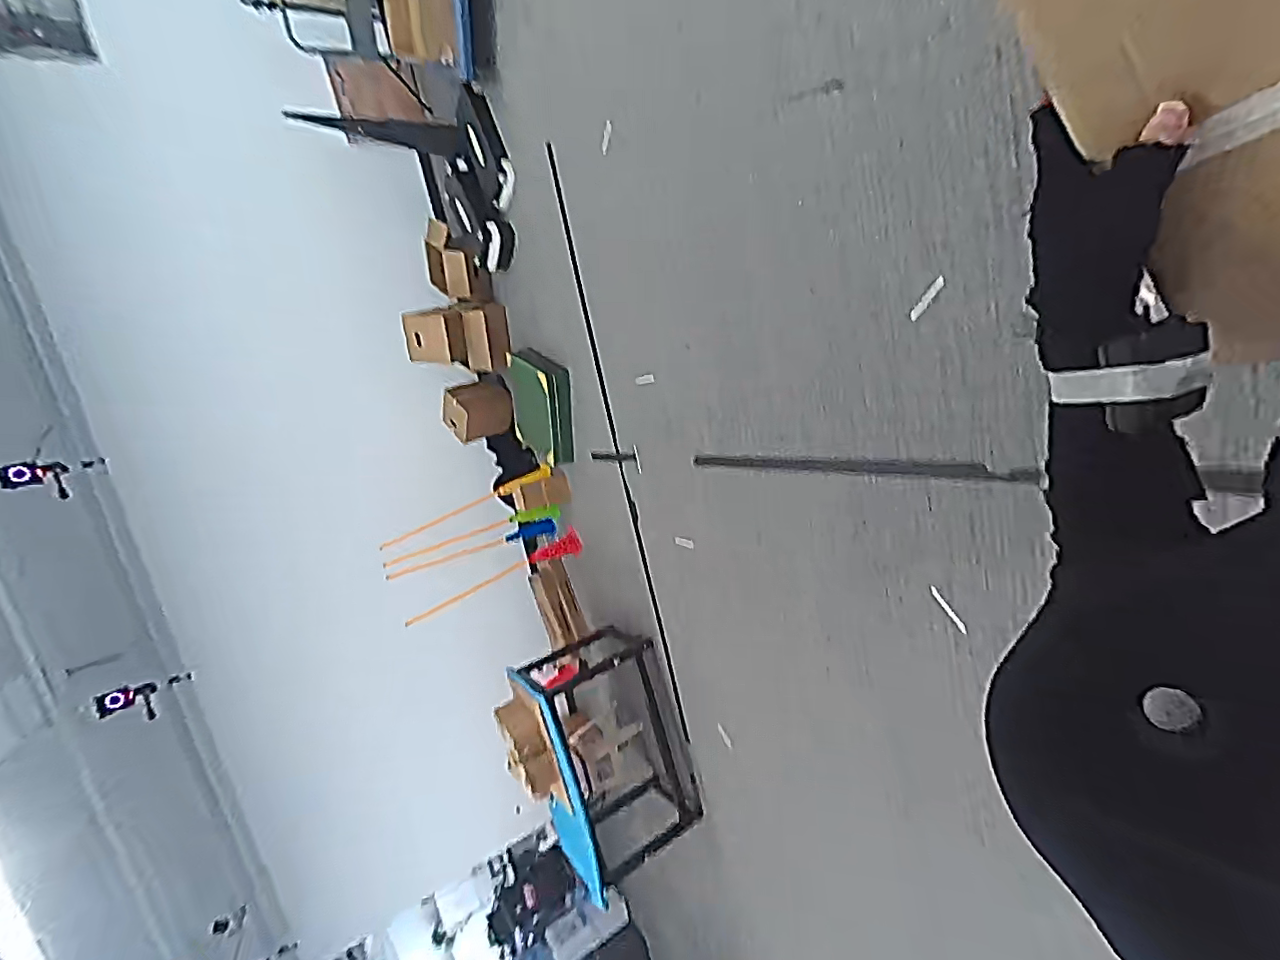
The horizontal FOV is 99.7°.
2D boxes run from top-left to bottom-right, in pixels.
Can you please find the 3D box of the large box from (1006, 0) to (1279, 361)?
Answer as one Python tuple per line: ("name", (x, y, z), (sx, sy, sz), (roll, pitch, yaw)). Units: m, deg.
("large box", (0.461, -0.300, 0.201), (0.320, 0.320, 0.408), (46, 163, -15))
